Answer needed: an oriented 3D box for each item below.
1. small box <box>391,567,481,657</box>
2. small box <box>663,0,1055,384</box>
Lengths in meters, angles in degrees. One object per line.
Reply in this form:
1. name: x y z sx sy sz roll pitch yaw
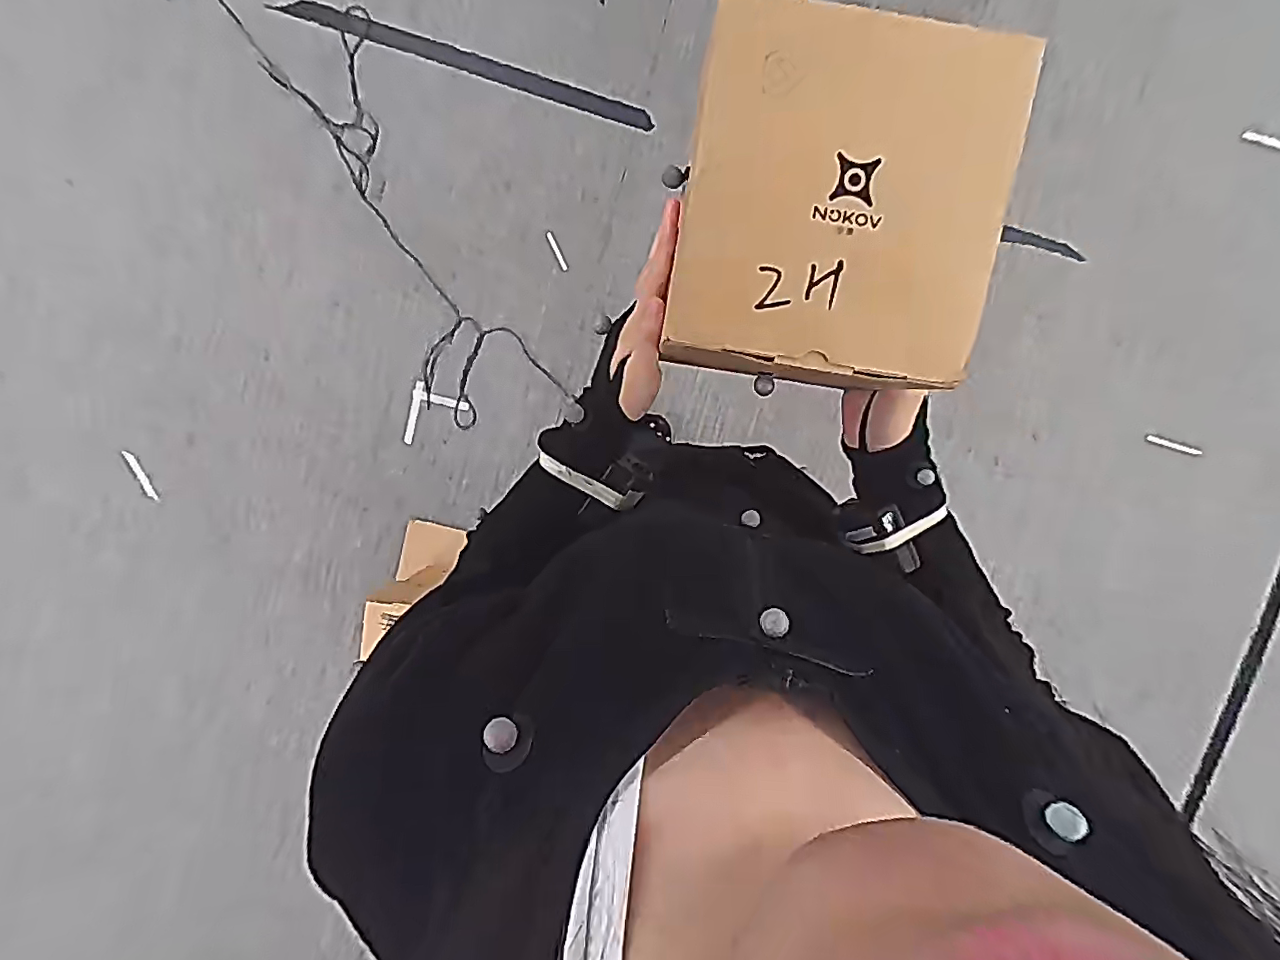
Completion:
1. small box: -0.531 0.340 1.429 0.168 0.176 0.179 10 95 0
2. small box: 0.109 -0.163 0.352 0.168 0.176 0.179 9 99 -1
